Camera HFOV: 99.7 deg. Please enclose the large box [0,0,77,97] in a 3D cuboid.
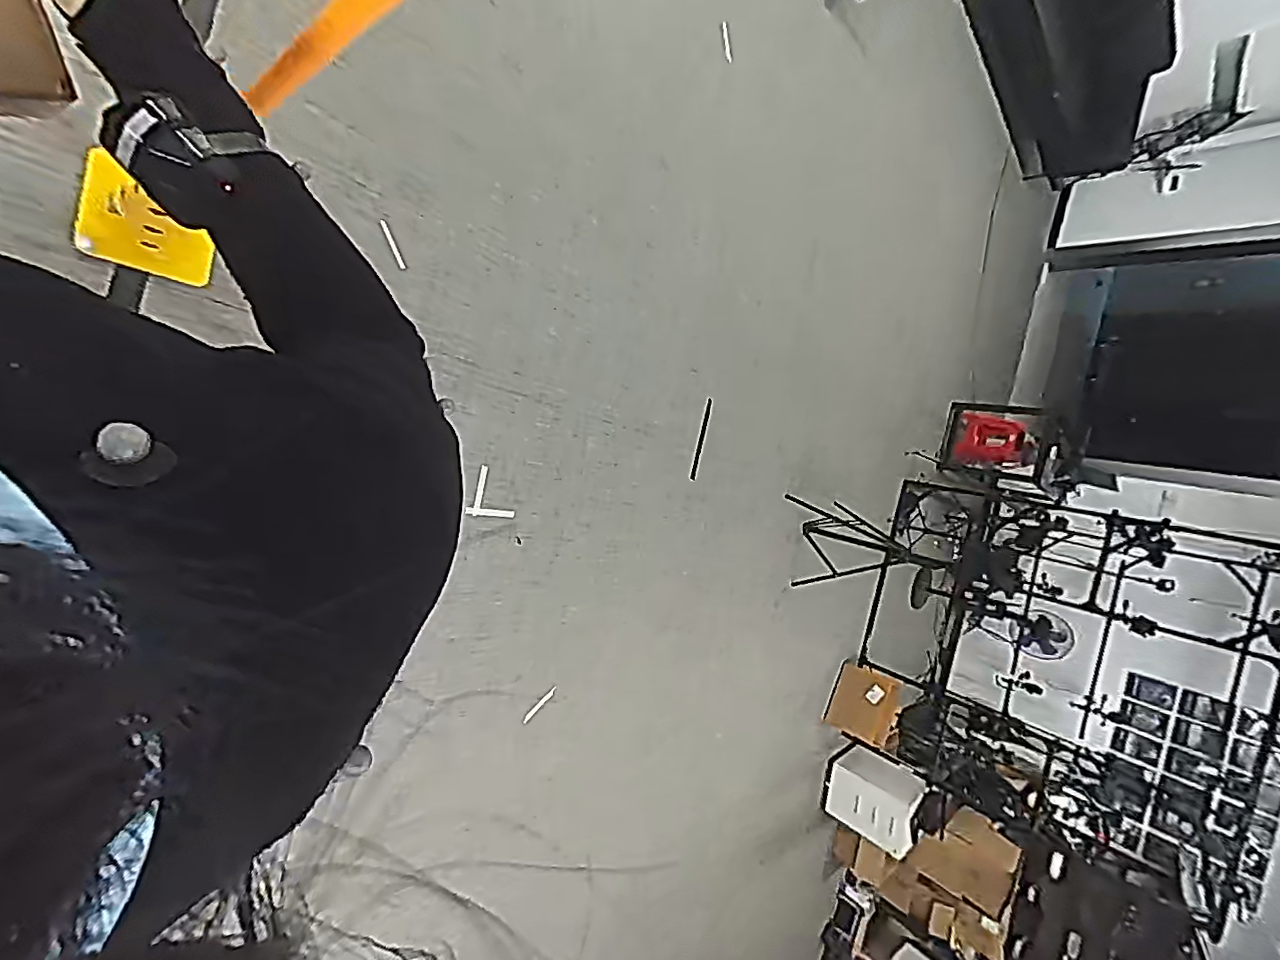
[{"bbox_3d":[-0.625,-0.395,0.266,0.408,0.320,0.320,-25,128,-38],"label":"large box"}]
